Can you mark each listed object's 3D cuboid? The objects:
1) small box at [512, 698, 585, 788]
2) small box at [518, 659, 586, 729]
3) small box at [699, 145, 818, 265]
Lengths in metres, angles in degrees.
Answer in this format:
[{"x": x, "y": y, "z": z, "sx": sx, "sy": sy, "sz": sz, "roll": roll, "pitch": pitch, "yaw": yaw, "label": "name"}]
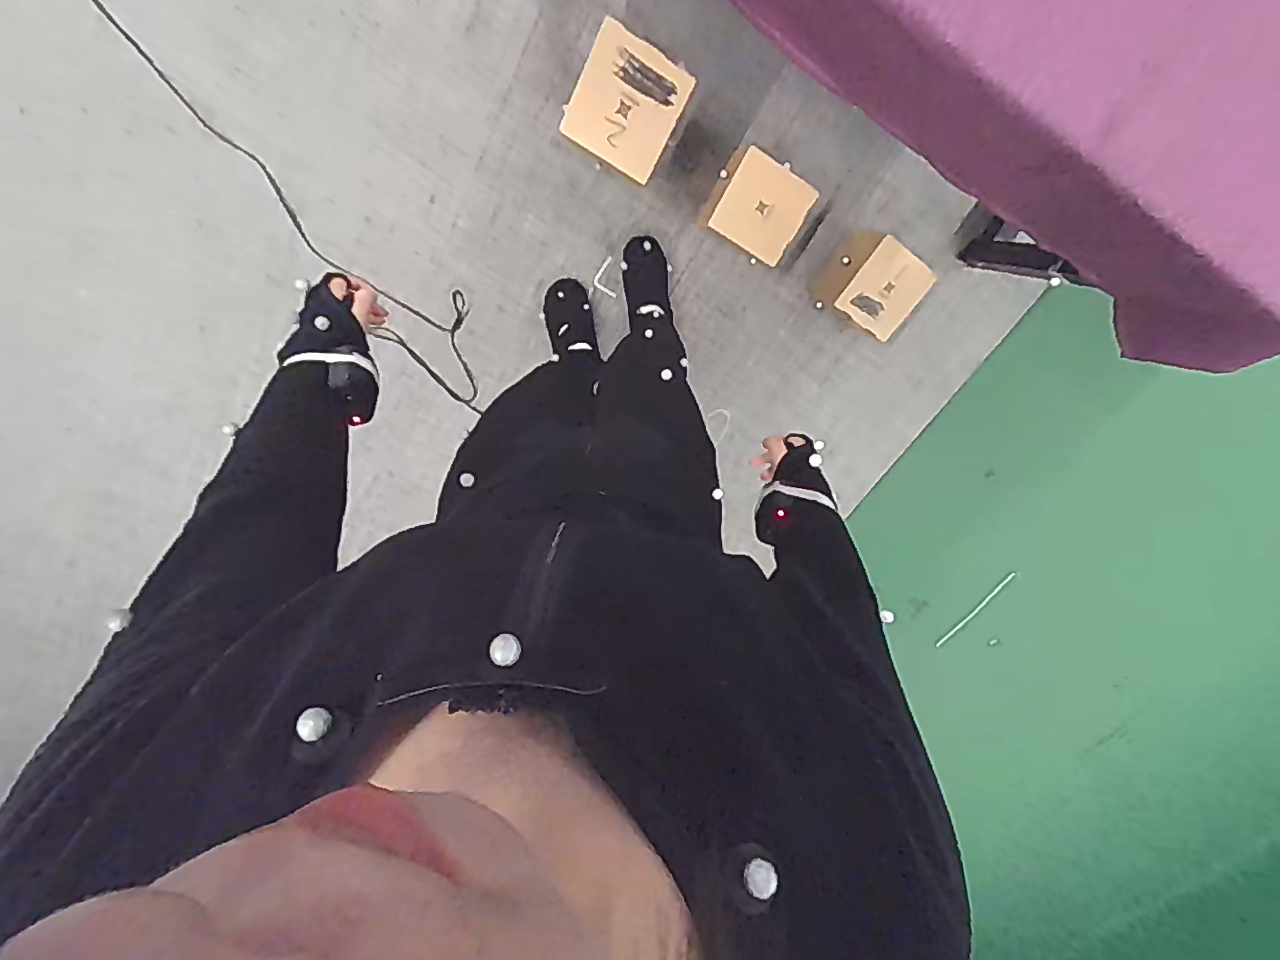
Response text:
[{"x": -0.282, "y": 0.816, "z": 1.689, "sx": 0.168, "sy": 0.176, "sz": 0.179, "roll": 25, "pitch": 113, "yaw": -14, "label": "small box"}, {"x": -0.295, "y": 0.742, "z": 1.835, "sx": 0.168, "sy": 0.176, "sz": 0.179, "roll": 26, "pitch": 113, "yaw": -15, "label": "small box"}, {"x": 0.247, "y": -0.594, "z": 1.181, "sx": 0.179, "sy": 0.176, "sz": 0.168, "roll": 25, "pitch": 113, "yaw": -16, "label": "small box"}]
